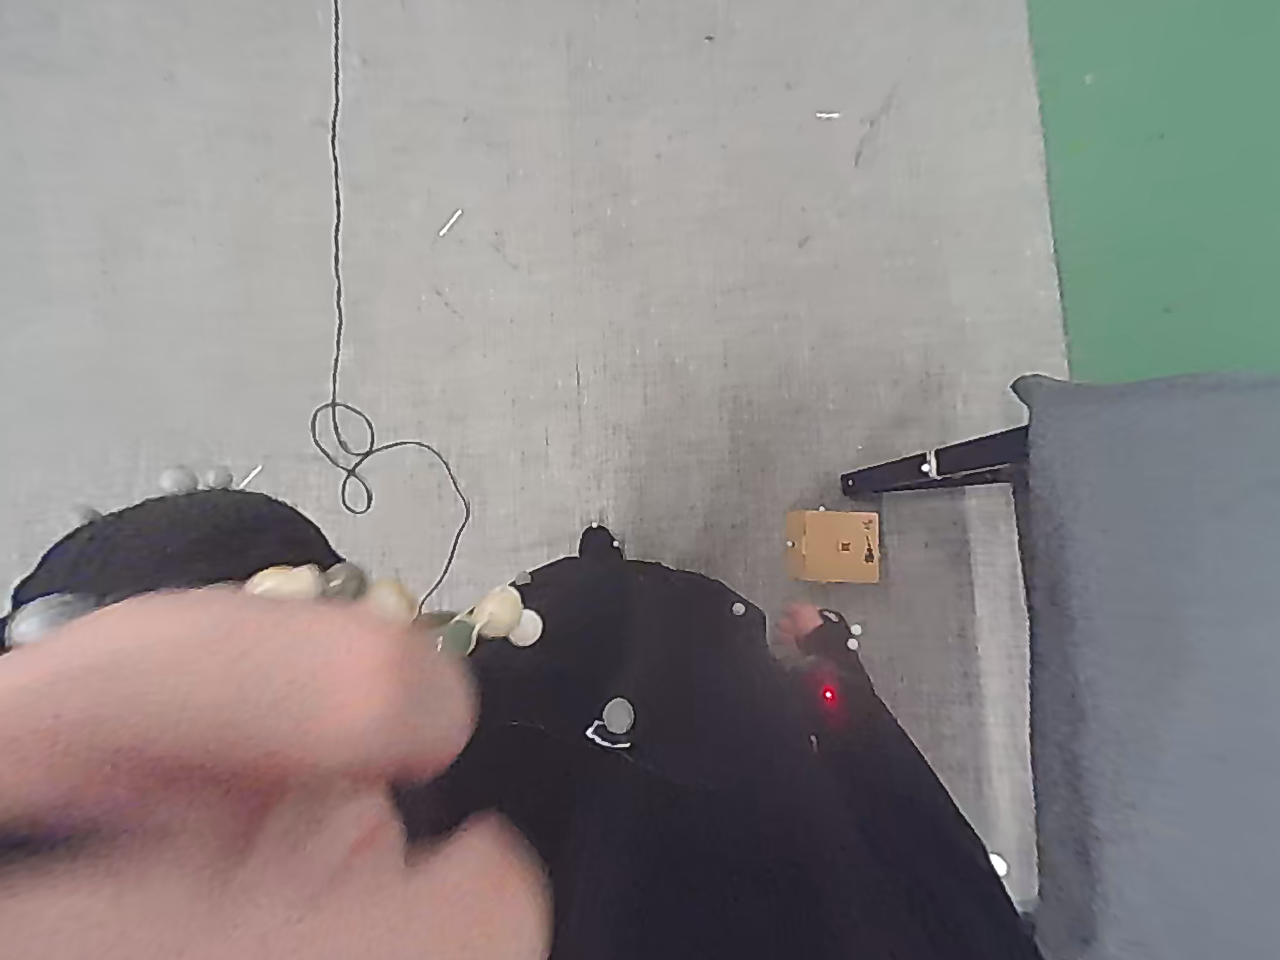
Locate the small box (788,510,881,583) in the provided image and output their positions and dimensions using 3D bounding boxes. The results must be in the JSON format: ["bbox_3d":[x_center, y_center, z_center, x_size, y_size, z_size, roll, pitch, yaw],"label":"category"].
[{"bbox_3d":[0.469,0.163,1.331,0.179,0.176,0.168,1,84,-1],"label":"small box"}]
